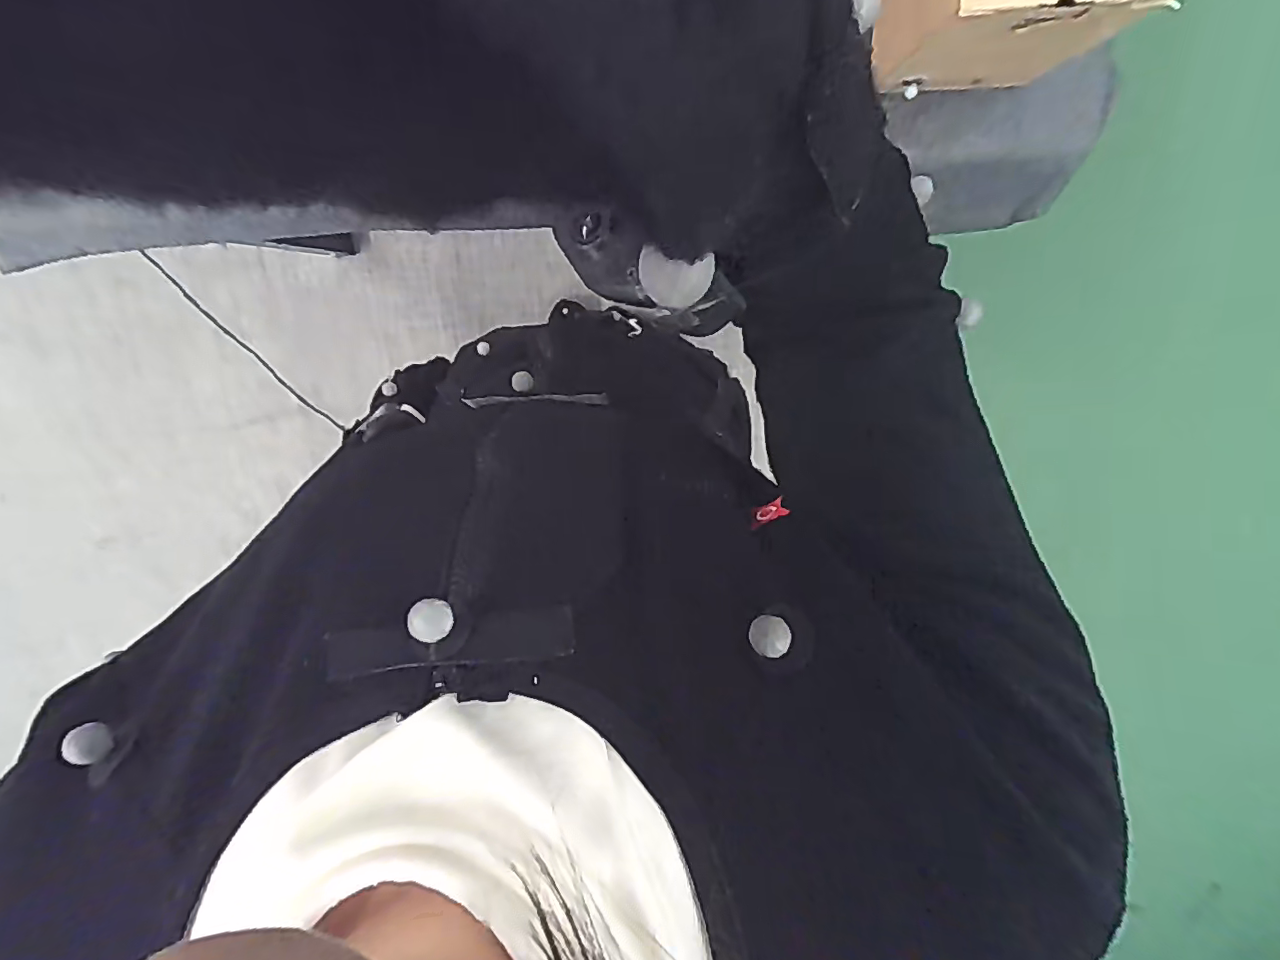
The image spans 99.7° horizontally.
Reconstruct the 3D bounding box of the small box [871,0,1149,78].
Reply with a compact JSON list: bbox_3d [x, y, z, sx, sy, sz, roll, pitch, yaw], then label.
[{"bbox_3d":[0.315,-0.471,0.461,0.168,0.176,0.179,-3,107,0],"label":"small box"}]
